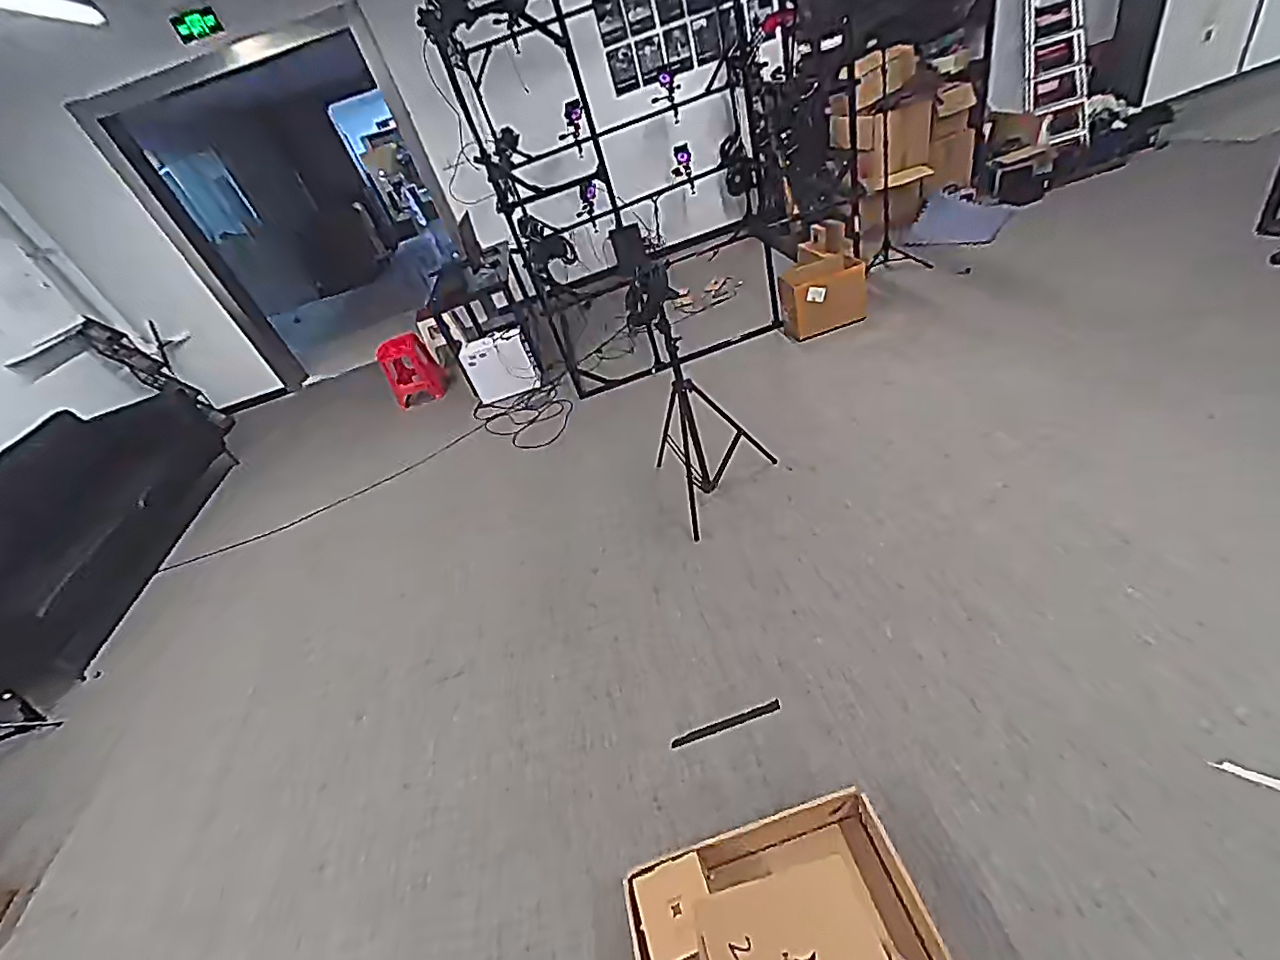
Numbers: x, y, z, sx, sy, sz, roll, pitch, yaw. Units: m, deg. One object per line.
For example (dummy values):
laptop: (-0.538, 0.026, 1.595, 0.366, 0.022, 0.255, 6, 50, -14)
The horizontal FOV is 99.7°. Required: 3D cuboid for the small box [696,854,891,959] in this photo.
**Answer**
small box: (0.165, 0.539, 0.573, 0.179, 0.176, 0.168, -12, 38, -6)
